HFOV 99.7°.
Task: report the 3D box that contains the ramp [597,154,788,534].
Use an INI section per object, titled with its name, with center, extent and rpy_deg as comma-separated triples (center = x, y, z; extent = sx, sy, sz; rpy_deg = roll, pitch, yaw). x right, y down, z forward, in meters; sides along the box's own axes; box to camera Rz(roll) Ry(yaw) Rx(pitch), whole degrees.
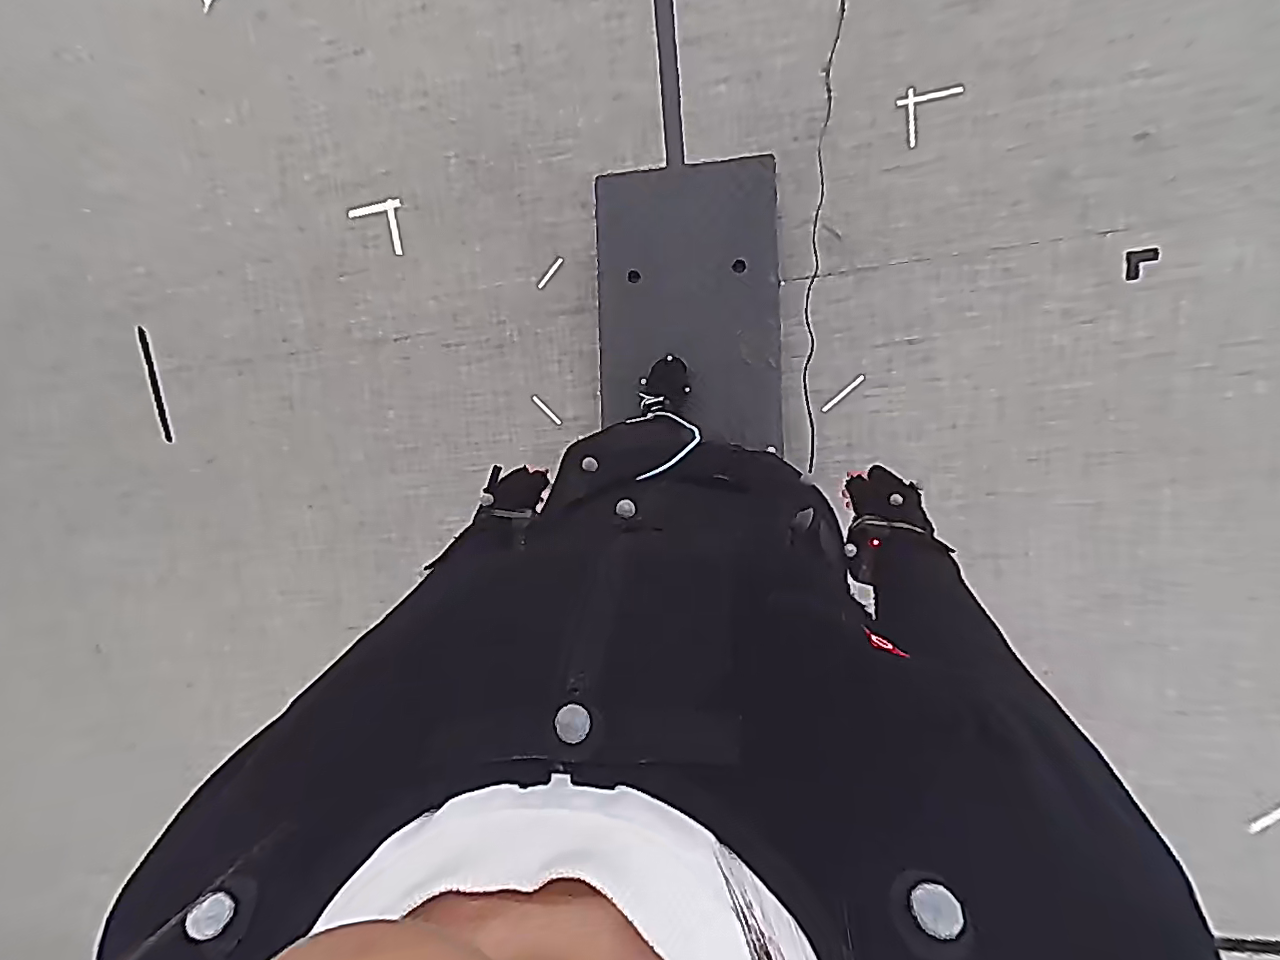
[ramp]
center = 0.130, -0.355, 1.459
extent = 0.509, 0.206, 0.991
rpy_deg = -3, 99, 11
